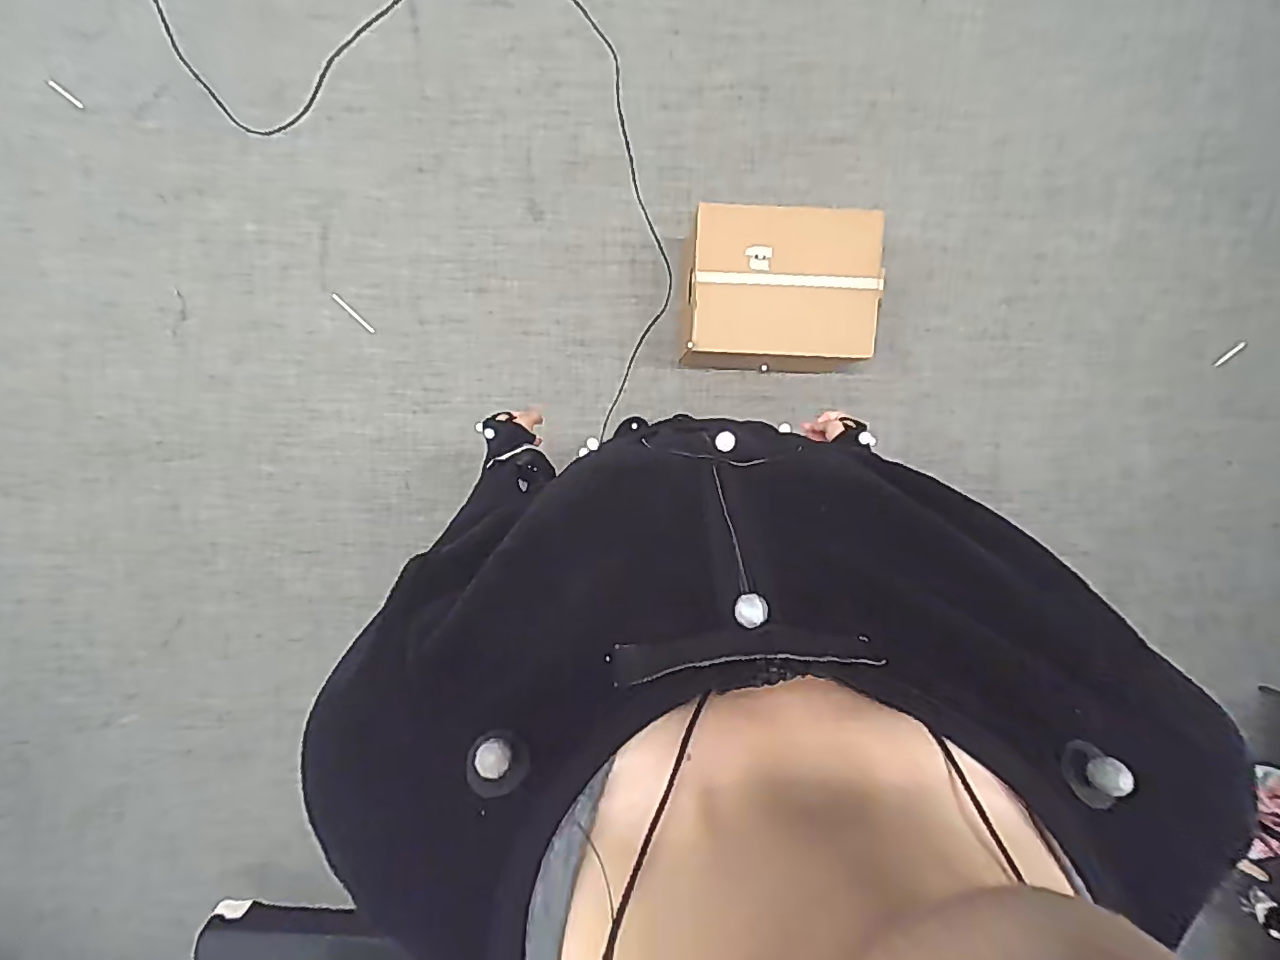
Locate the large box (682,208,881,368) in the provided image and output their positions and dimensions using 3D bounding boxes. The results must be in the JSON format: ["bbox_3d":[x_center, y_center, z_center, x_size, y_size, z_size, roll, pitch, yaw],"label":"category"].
[{"bbox_3d":[0.319,-0.443,1.322,0.408,0.320,0.320,2,95,0],"label":"large box"}]
